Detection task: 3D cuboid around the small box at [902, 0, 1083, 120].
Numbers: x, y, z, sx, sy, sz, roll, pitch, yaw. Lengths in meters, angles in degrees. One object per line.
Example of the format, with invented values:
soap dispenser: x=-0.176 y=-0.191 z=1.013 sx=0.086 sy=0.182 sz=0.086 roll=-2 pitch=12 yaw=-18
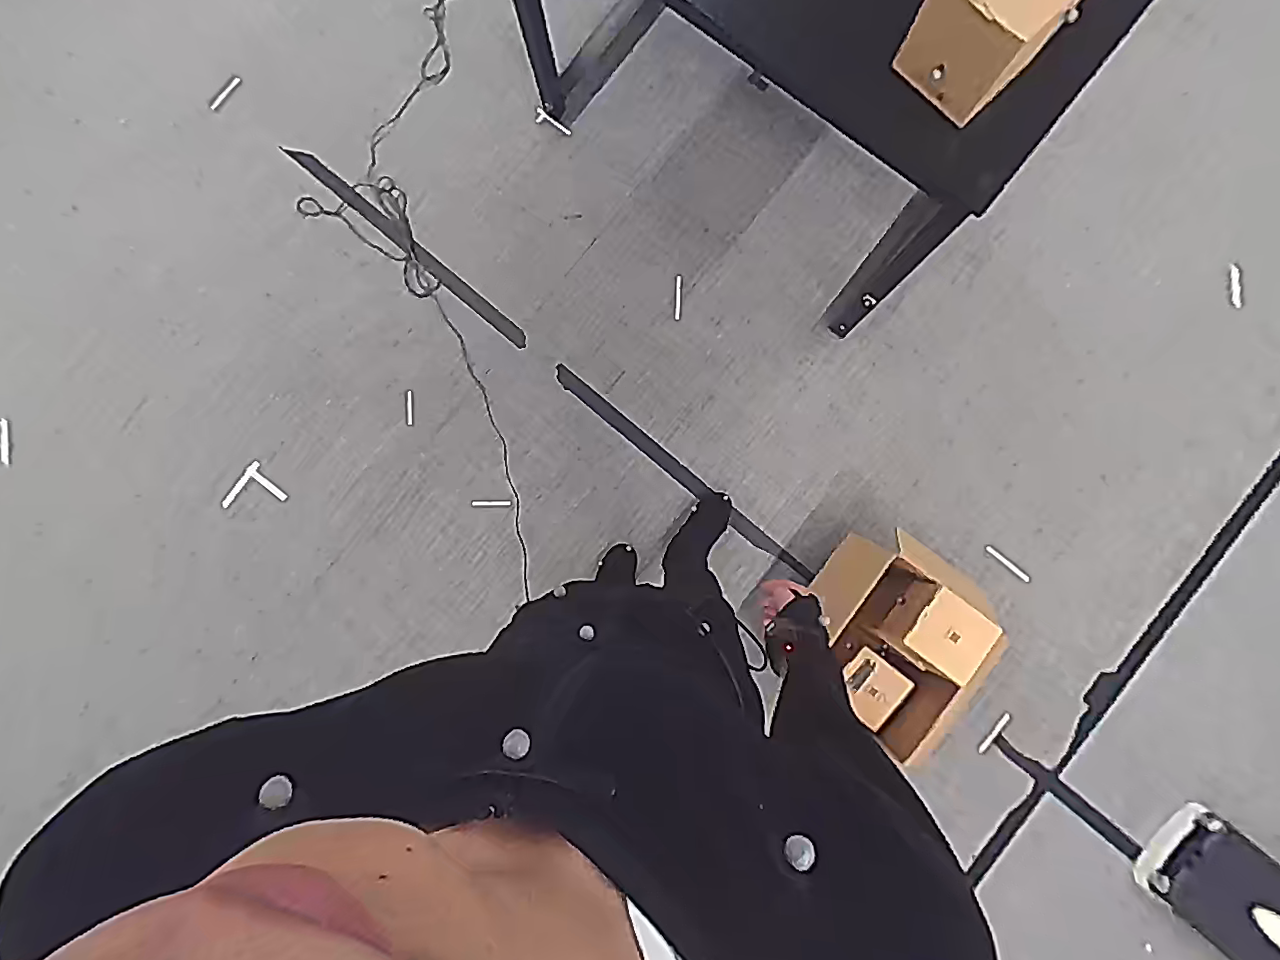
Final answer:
small box: x=0.557 y=-0.729 z=0.849 sx=0.179 sy=0.176 sz=0.168 roll=-43 pitch=86 yaw=-1
